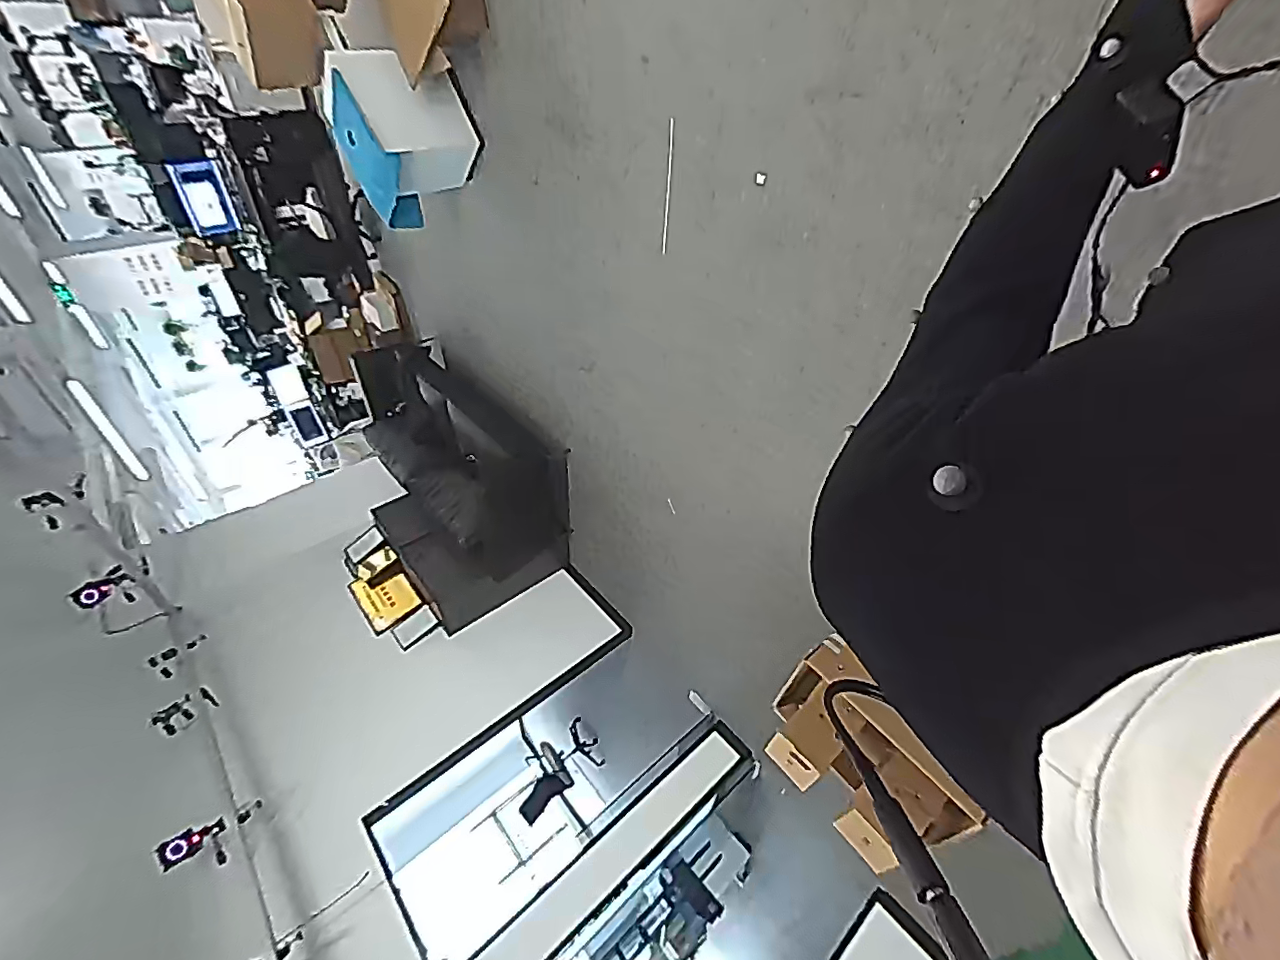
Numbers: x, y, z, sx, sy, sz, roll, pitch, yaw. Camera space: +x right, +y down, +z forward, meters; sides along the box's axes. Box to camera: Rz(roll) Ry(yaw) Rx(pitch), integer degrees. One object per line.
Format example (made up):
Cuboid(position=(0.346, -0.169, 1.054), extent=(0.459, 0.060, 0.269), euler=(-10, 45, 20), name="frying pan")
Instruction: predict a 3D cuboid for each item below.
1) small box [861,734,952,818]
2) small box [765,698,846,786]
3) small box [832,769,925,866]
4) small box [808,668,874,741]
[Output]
Cuboid(position=(0.842, 0.945, 1.706), extent=(0.168, 0.176, 0.179), euler=(43, 145, 26), name="small box")
Cuboid(position=(0.539, 0.844, 1.754), extent=(0.168, 0.176, 0.179), euler=(42, 145, 29), name="small box")
Cuboid(position=(0.718, 1.004, 1.617), extent=(0.168, 0.176, 0.179), euler=(44, 144, 28), name="small box")
Cuboid(position=(0.664, 0.776, 1.838), extent=(0.168, 0.176, 0.179), euler=(42, 145, 28), name="small box")
